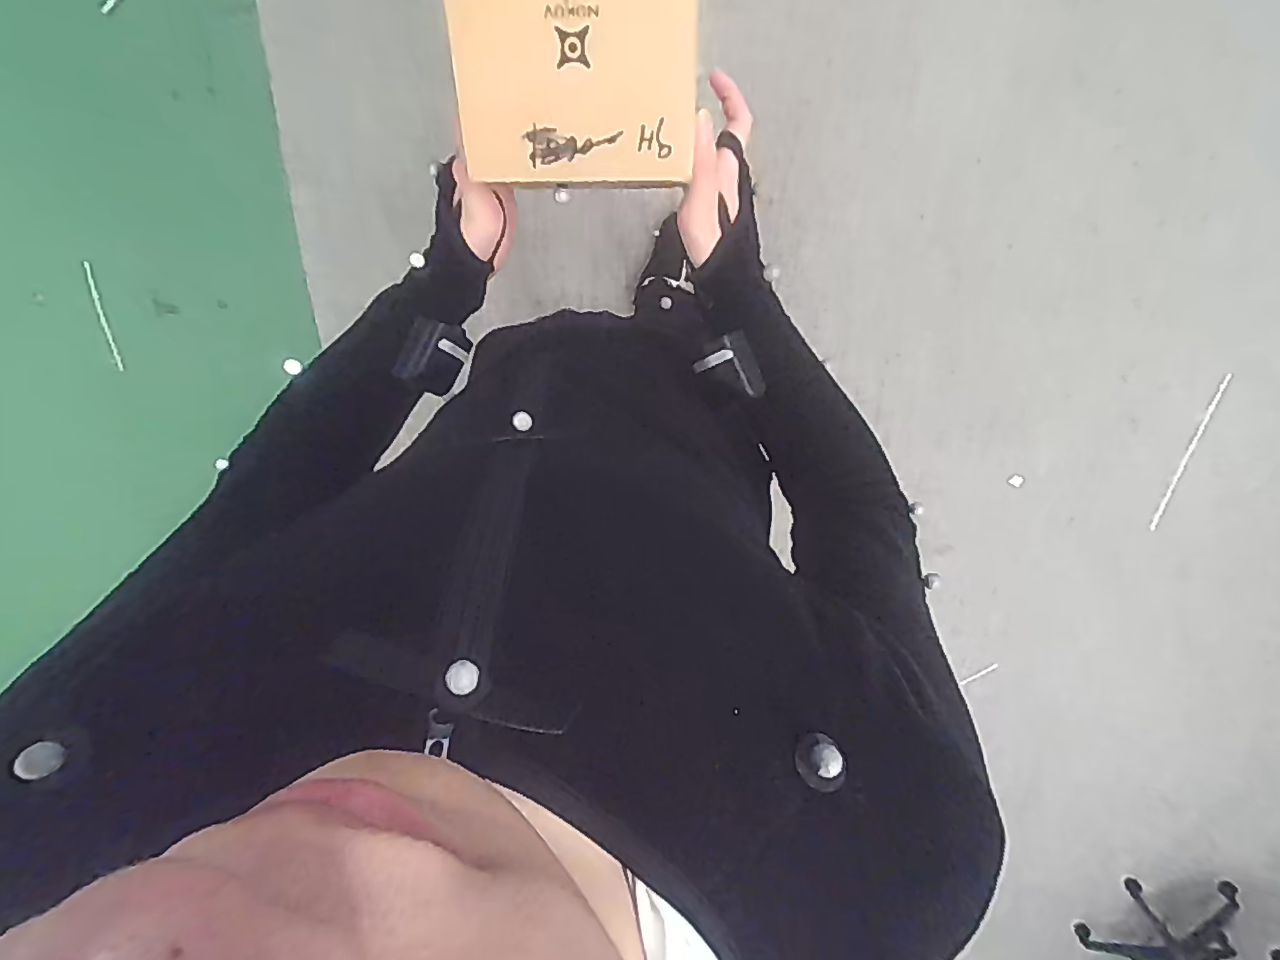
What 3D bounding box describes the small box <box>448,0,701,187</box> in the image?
[{"bbox_3d":[-0.044,-0.334,0.424,0.168,0.176,0.179,0,117,0],"label":"small box"}]
